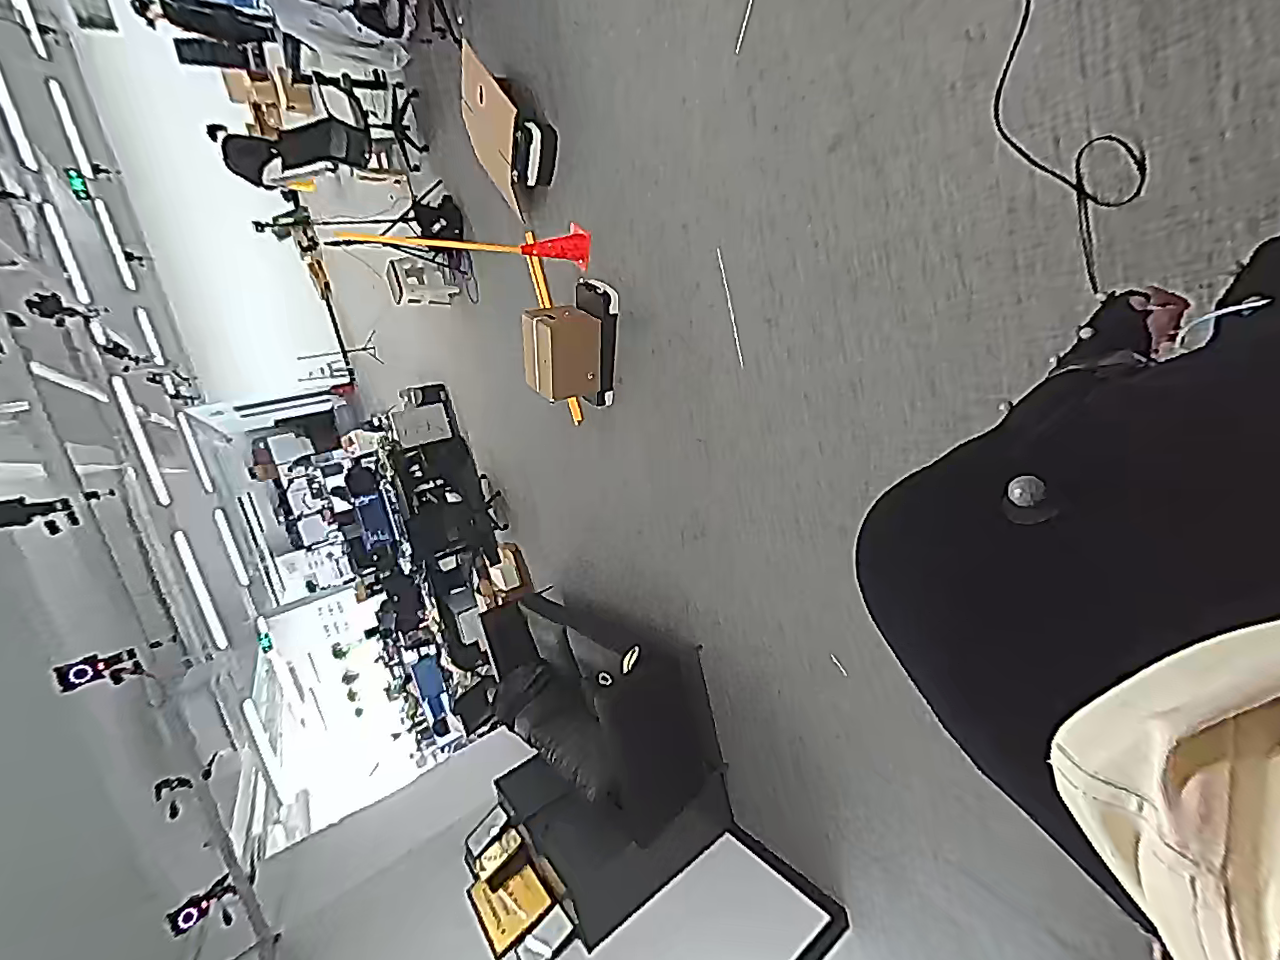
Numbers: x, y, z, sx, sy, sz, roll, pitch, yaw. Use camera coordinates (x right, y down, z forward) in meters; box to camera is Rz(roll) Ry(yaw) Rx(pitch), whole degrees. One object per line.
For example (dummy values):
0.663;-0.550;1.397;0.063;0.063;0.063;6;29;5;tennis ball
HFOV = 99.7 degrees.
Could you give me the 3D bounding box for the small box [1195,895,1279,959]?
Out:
0.988;0.800;0.826;0.179;0.176;0.168;7;112;56;small box
